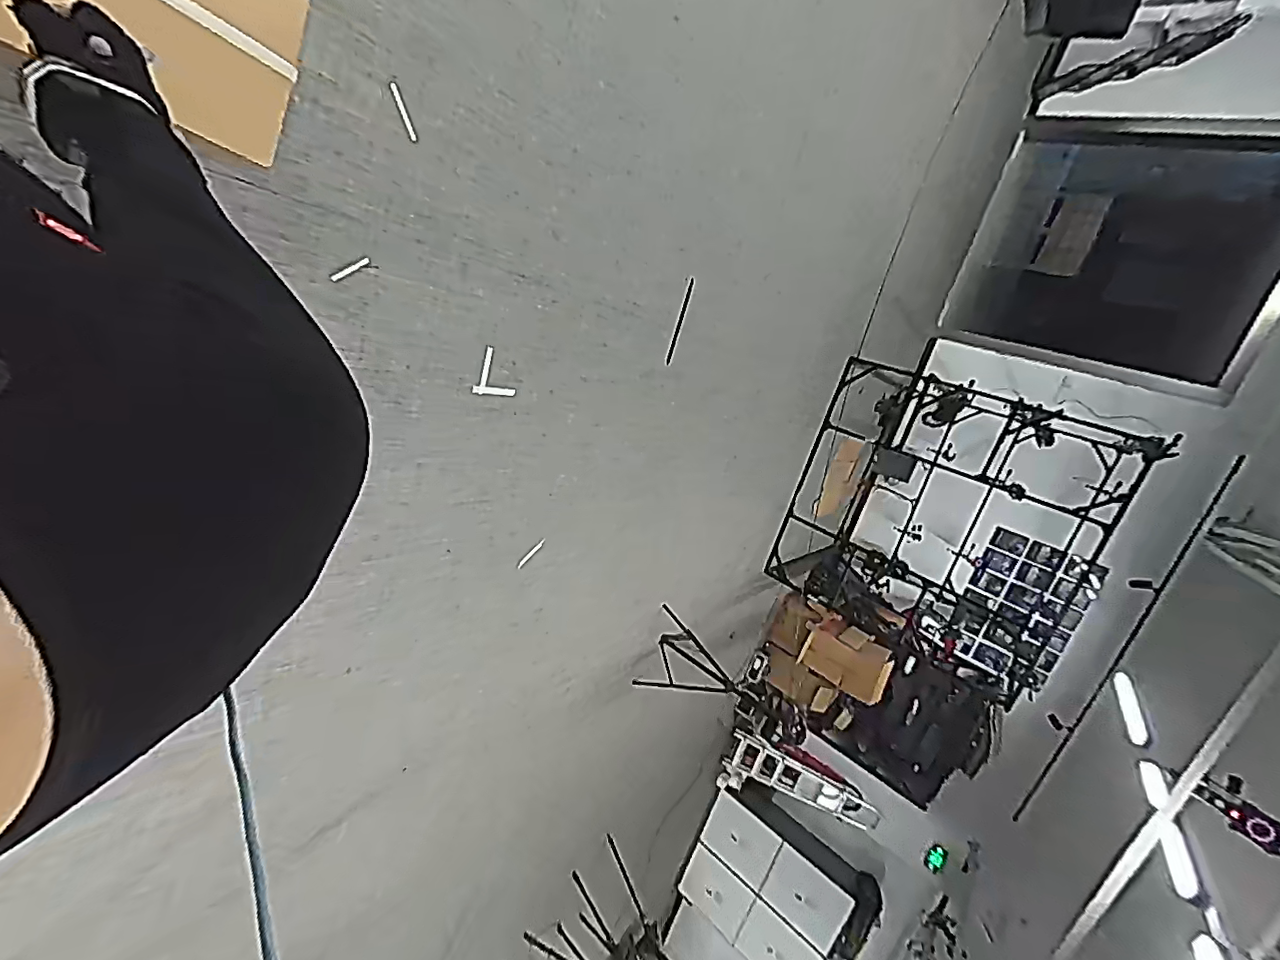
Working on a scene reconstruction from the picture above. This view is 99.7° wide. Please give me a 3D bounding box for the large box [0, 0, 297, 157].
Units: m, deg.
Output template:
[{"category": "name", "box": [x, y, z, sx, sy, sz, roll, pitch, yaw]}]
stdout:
[{"category": "large box", "box": [-0.817, -0.761, 0.820, 0.408, 0.320, 0.320, 6, 108, -56]}]
